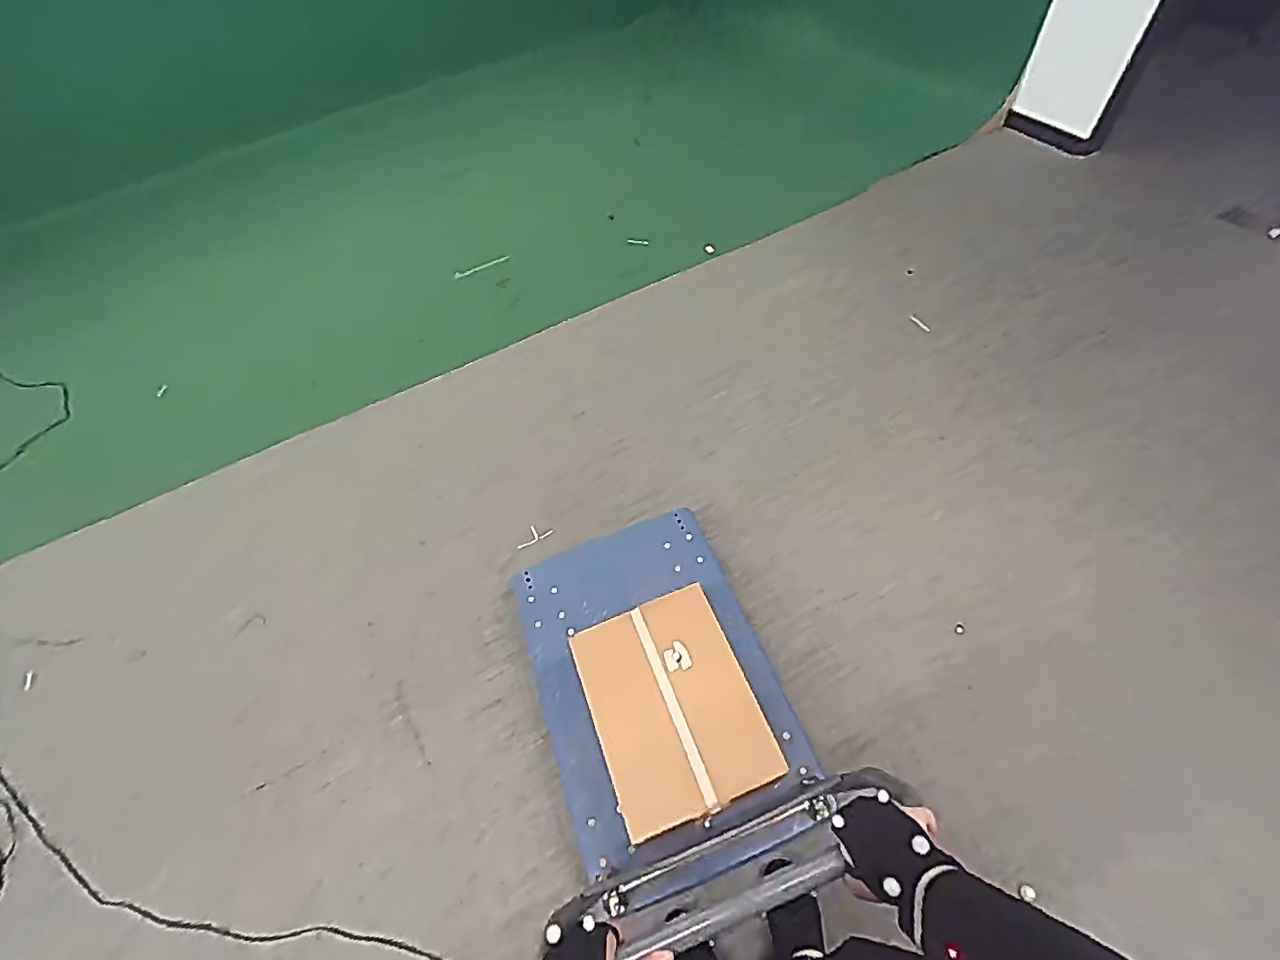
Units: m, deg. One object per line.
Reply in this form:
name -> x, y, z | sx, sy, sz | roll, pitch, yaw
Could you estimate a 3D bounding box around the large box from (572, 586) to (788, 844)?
large box -> 0.083, 0.520, 1.198 | 0.320, 0.320, 0.408 | -21, 55, -6
